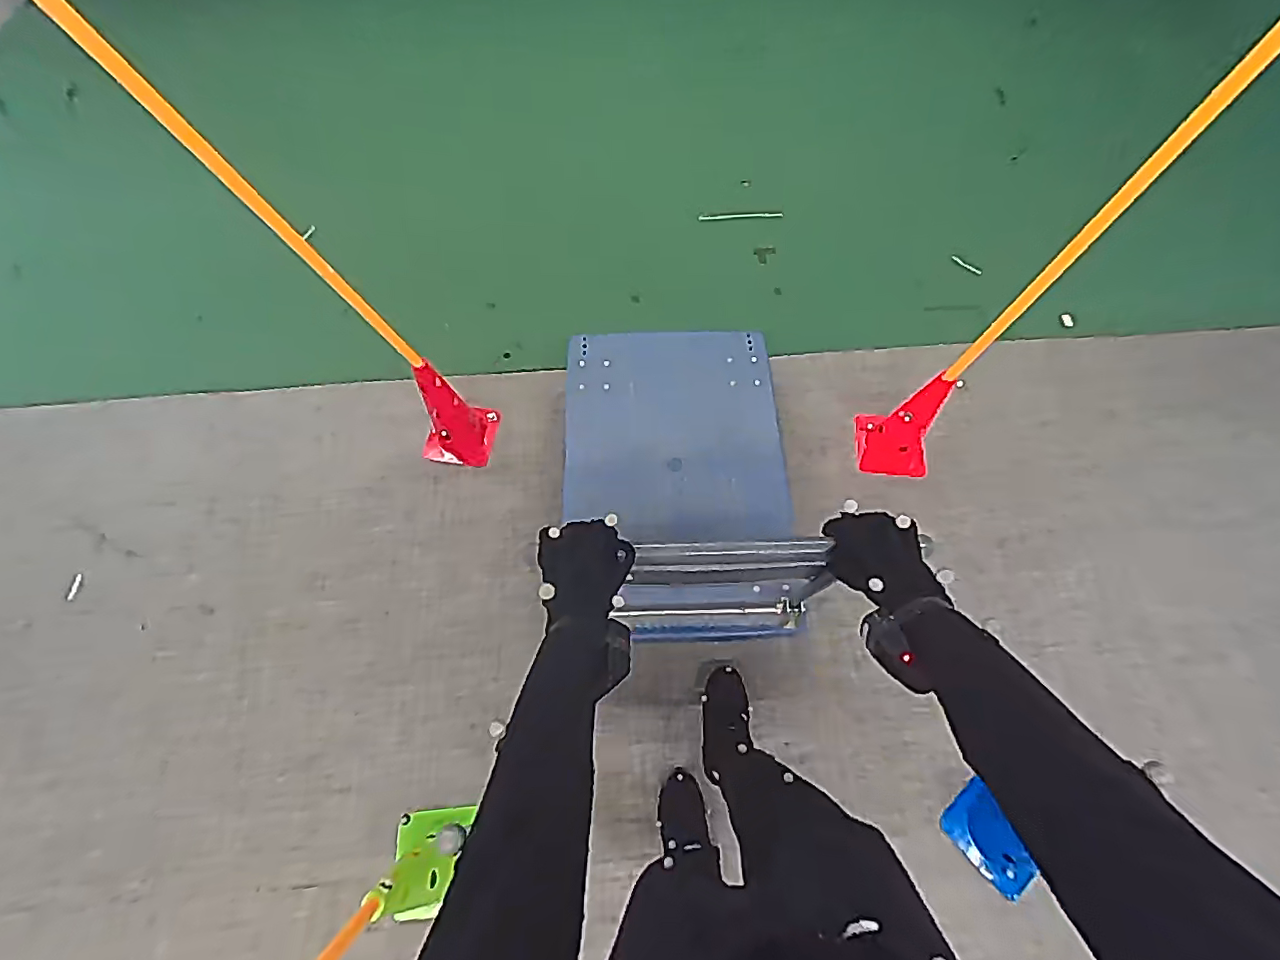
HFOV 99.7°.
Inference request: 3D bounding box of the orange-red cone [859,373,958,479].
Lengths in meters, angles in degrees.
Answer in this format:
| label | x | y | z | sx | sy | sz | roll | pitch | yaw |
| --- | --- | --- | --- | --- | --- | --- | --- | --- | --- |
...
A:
| label | x | y | z | sx | sy | sz | roll | pitch | yaw |
| --- | --- | --- | --- | --- | --- | --- | --- | --- | --- |
| orange-red cone | 0.751 | -0.169 | 1.457 | 0.198 | 0.360 | 0.199 | 6 | 66 | 4 |
